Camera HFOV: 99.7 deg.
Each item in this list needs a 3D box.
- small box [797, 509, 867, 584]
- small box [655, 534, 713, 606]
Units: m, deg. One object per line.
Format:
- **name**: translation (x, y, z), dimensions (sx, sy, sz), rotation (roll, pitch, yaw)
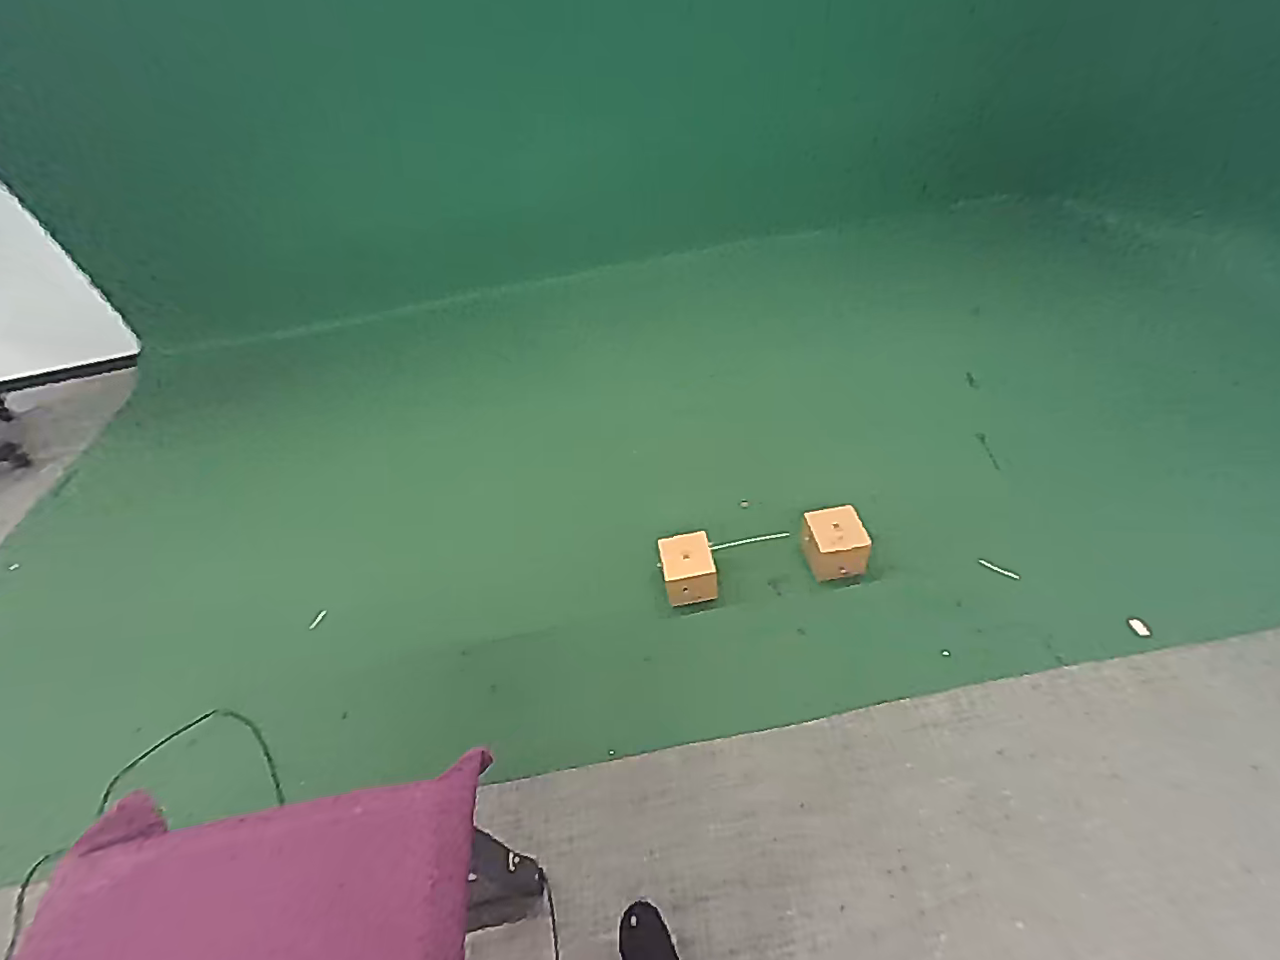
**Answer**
- **small box**: translation (0.646, 0.227, 1.845), dimensions (0.168, 0.176, 0.179), rotation (-10, 45, 0)
- **small box**: translation (0.151, 0.315, 1.845), dimensions (0.168, 0.176, 0.179), rotation (-11, 44, -1)
